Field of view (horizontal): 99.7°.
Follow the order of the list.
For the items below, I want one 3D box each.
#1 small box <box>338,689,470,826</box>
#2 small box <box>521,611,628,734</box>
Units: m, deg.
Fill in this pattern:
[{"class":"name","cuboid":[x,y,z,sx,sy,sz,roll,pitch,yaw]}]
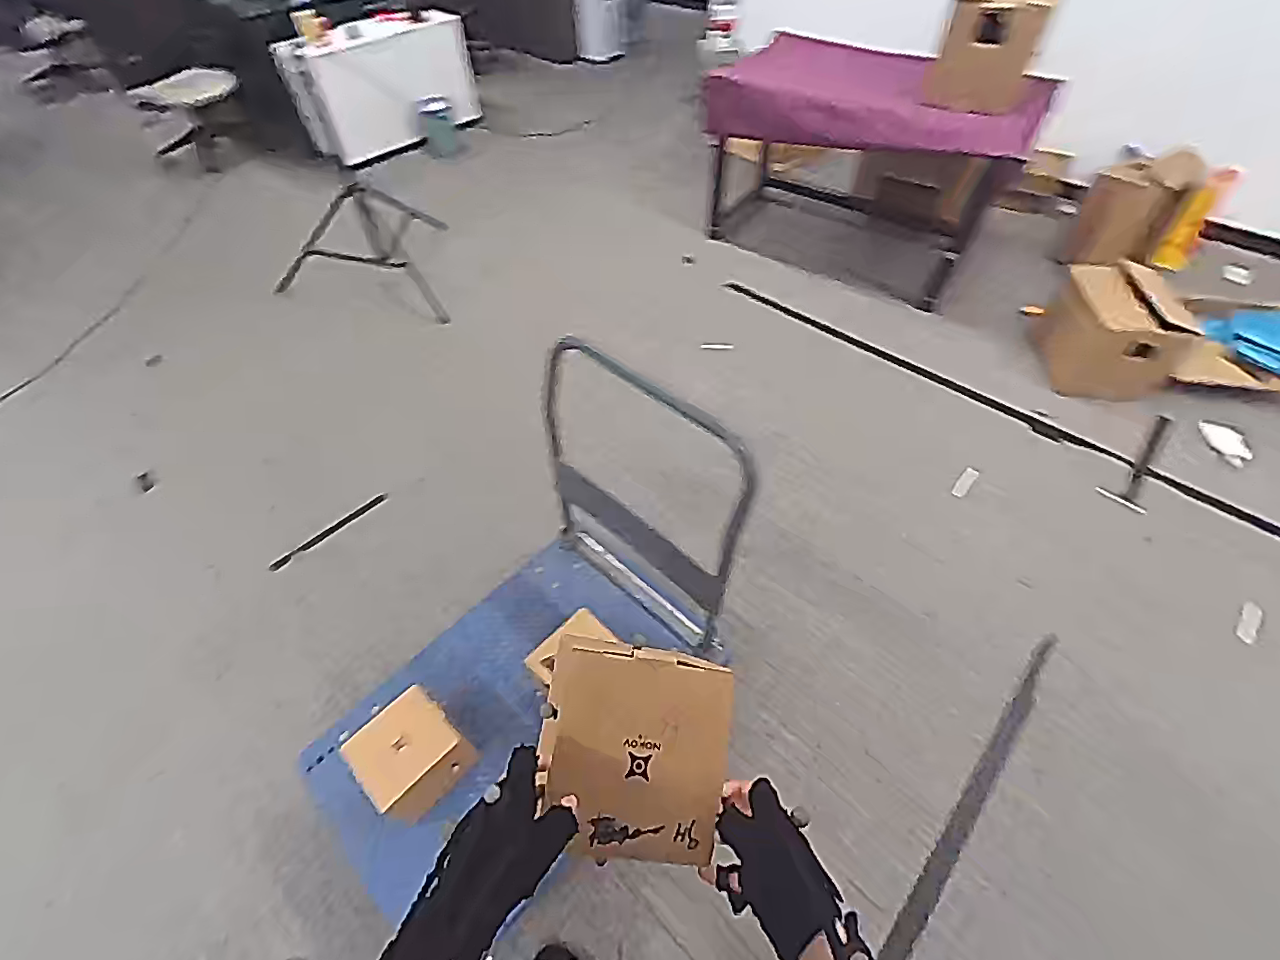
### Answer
[{"class":"small box","cuboid":[-0.477,0.578,1.125,0.168,0.176,0.179,35,60,26]},{"class":"small box","cuboid":[-0.139,0.441,1.227,0.168,0.176,0.179,37,60,26]}]
